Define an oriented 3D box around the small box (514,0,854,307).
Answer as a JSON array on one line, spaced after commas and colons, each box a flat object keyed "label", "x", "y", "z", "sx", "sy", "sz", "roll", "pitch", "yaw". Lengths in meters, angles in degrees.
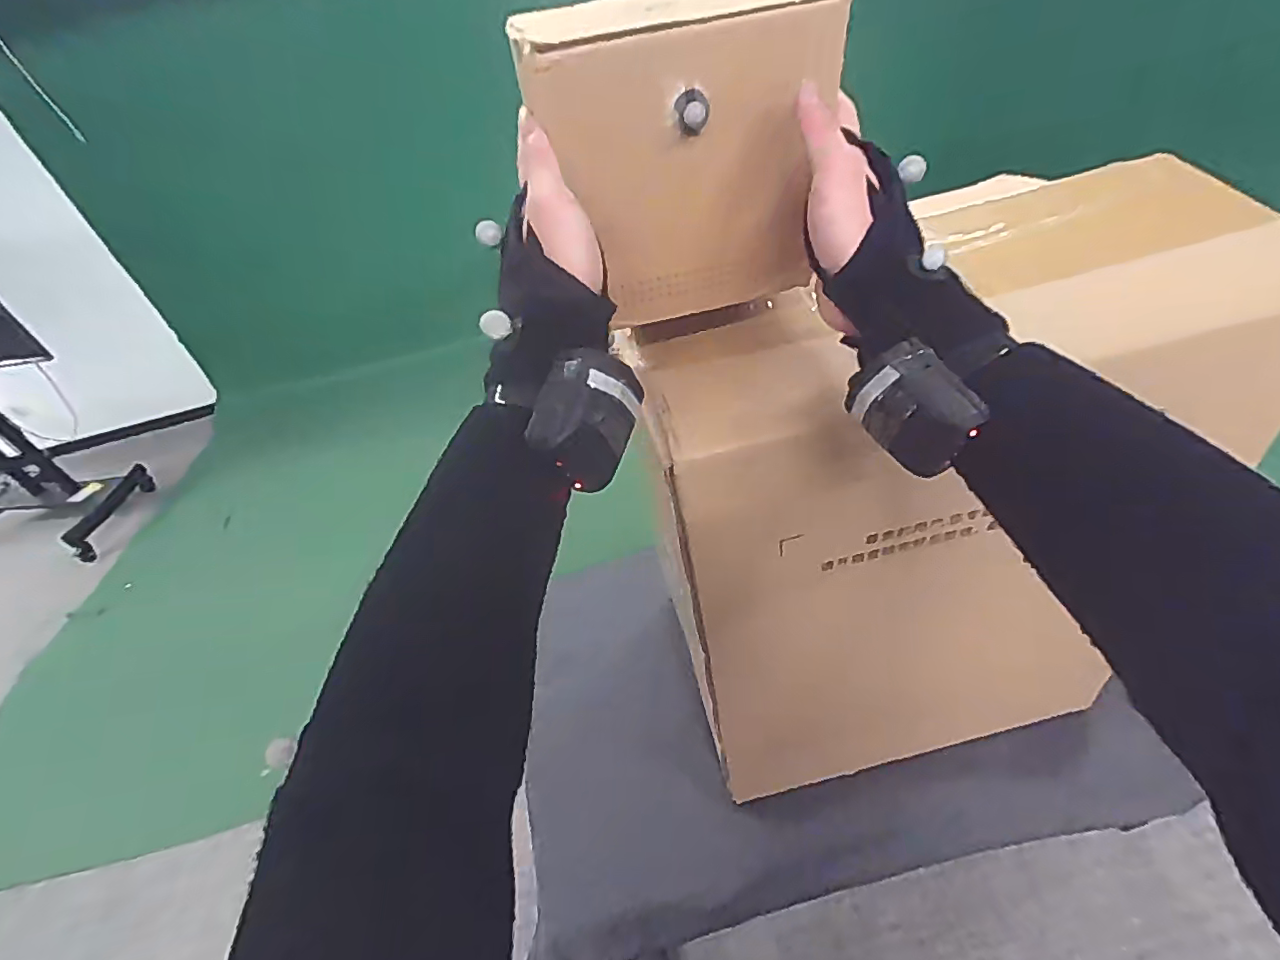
[{"label": "small box", "x": 0.022, "y": -0.239, "z": 0.381, "sx": 0.179, "sy": 0.176, "sz": 0.168, "roll": -13, "pitch": 45, "yaw": -8}]
